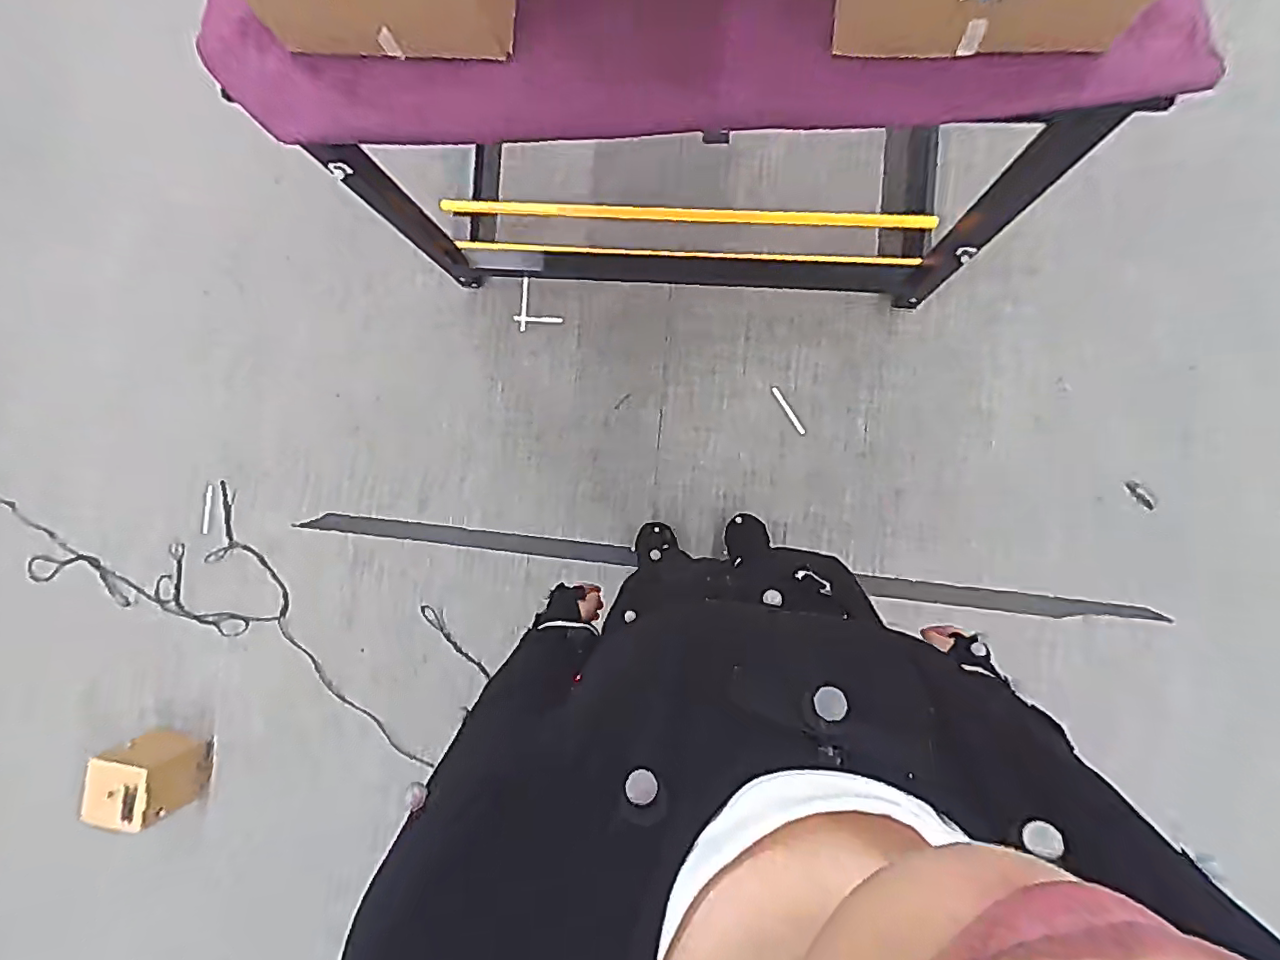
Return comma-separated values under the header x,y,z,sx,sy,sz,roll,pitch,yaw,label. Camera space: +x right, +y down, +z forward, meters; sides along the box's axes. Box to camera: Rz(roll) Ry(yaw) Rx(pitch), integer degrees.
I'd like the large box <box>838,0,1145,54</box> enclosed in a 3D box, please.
x,y,z,sx,sy,sz,roll,pitch,yaw,label
0.380,-0.706,0.496,0.320,0.320,0.408,4,87,6,large box
